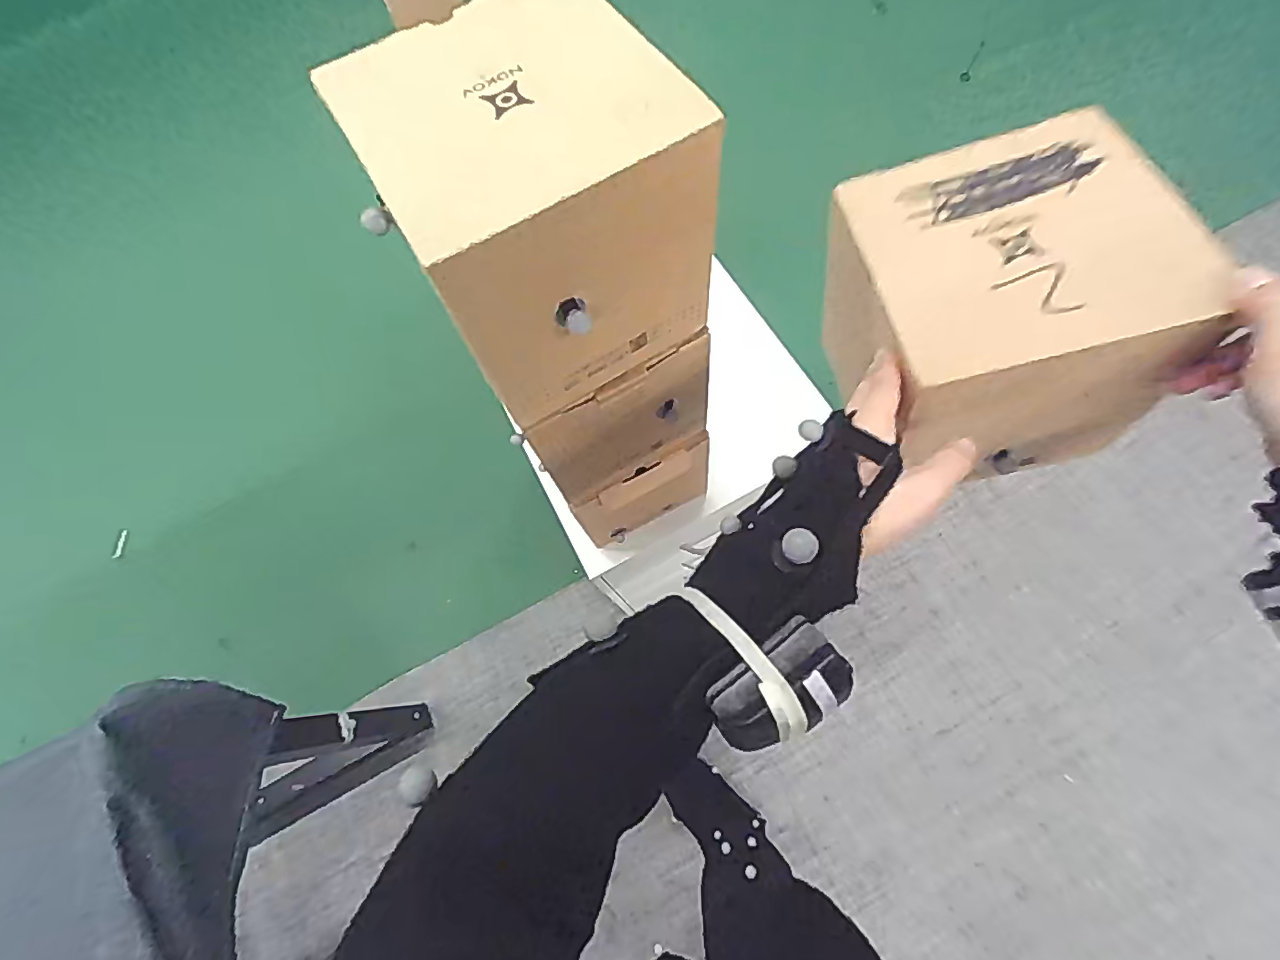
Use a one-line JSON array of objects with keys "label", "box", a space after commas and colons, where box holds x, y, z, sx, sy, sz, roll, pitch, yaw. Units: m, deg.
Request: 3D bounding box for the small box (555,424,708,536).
[{"label": "small box", "box": [-0.030, -0.047, 0.656, 0.168, 0.176, 0.179, -27, 68, -6]}]

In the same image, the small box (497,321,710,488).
[{"label": "small box", "box": [-0.049, -0.111, 0.508, 0.168, 0.176, 0.179, -29, 69, -8]}]

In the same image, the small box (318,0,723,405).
[{"label": "small box", "box": [-0.062, -0.172, 0.358, 0.168, 0.176, 0.179, -30, 69, -8]}]
